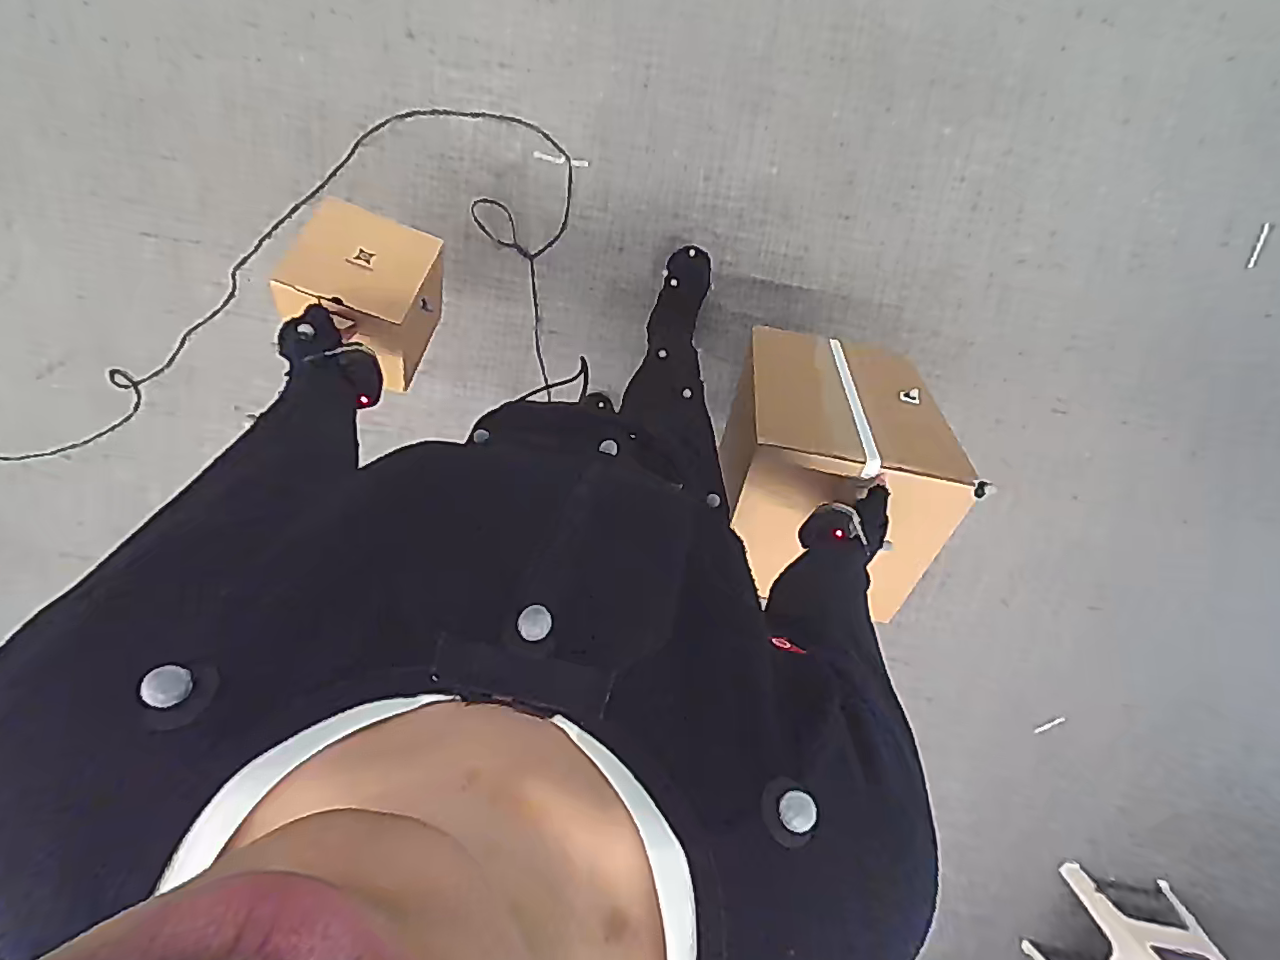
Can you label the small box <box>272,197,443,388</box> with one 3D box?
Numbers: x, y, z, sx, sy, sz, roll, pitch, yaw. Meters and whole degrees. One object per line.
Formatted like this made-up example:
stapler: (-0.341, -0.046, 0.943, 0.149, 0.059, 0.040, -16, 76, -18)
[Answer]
small box: (-0.410, -0.271, 0.811, 0.168, 0.176, 0.179, 18, 62, -14)
